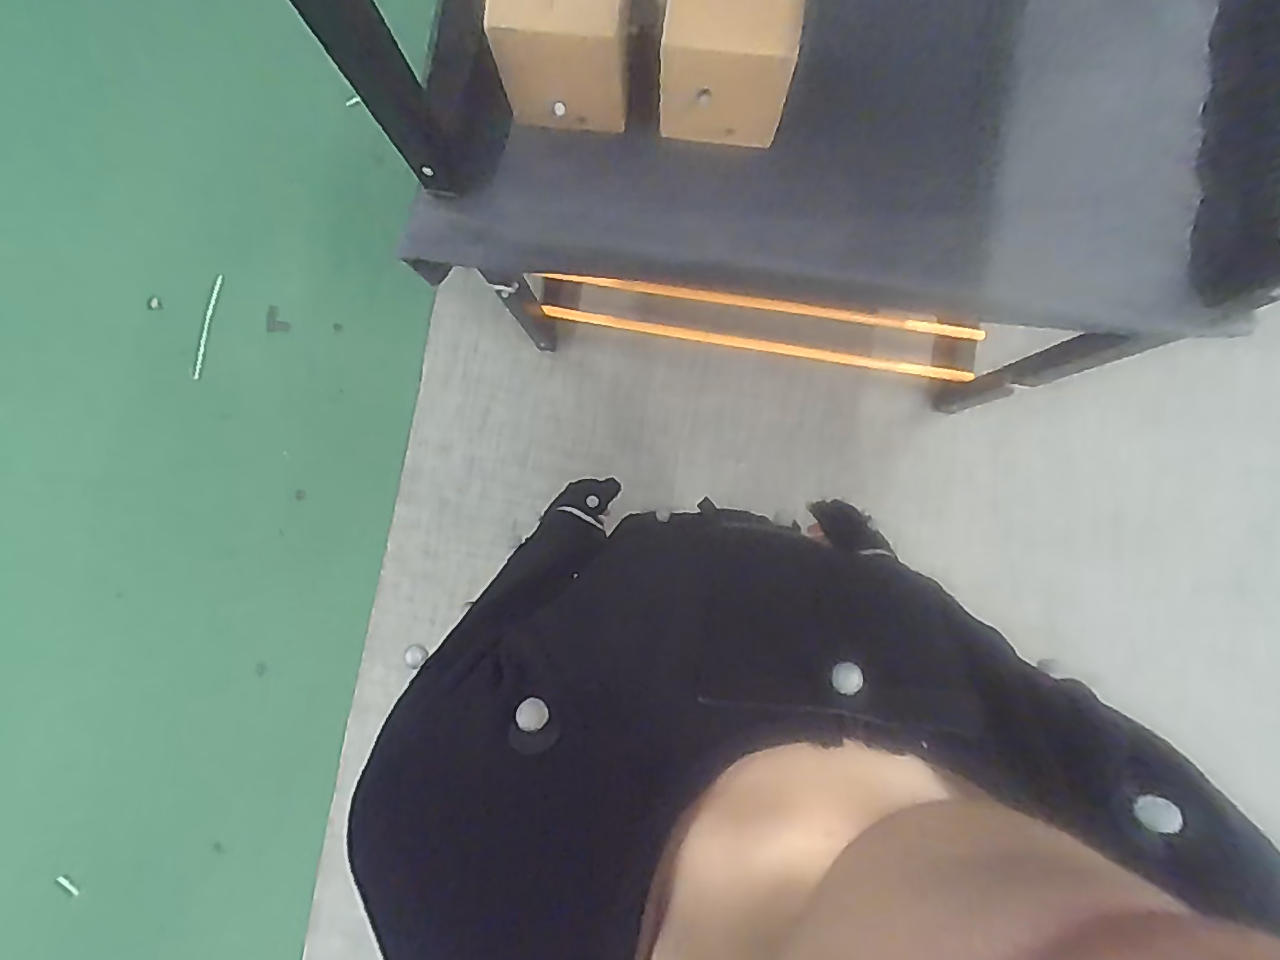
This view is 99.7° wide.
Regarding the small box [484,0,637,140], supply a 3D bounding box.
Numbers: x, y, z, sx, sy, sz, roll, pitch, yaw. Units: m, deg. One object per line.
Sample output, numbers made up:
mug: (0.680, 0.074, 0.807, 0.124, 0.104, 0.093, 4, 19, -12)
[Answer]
small box: (-0.096, -0.610, 0.737, 0.168, 0.176, 0.179, 7, 87, 3)
